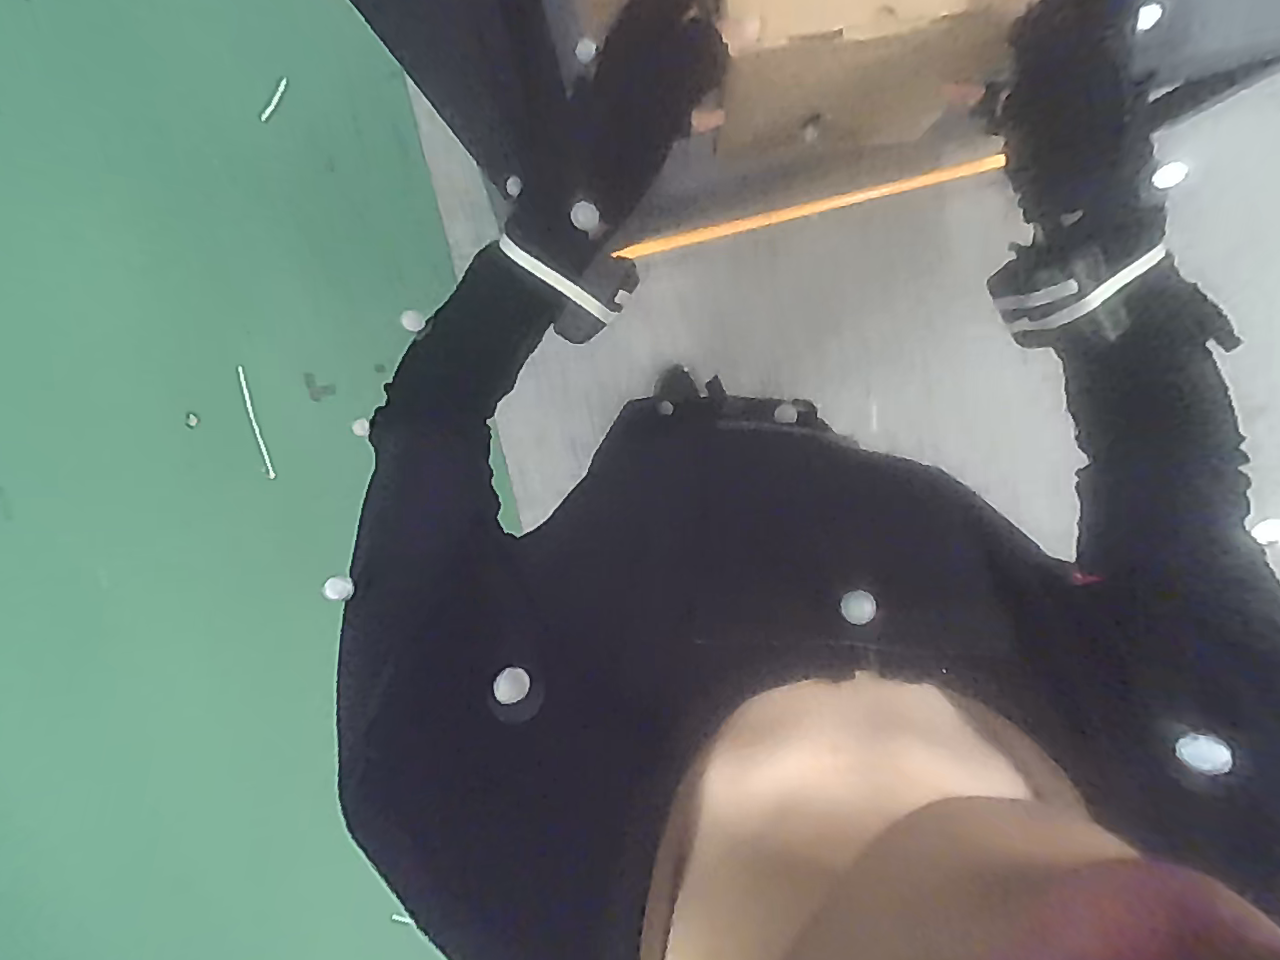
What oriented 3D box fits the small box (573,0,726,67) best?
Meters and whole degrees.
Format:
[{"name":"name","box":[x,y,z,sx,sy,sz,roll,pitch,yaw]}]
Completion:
[{"name":"small box","box":[-0.002,-0.583,0.556,0.168,0.176,0.179,-12,98,4]}]
